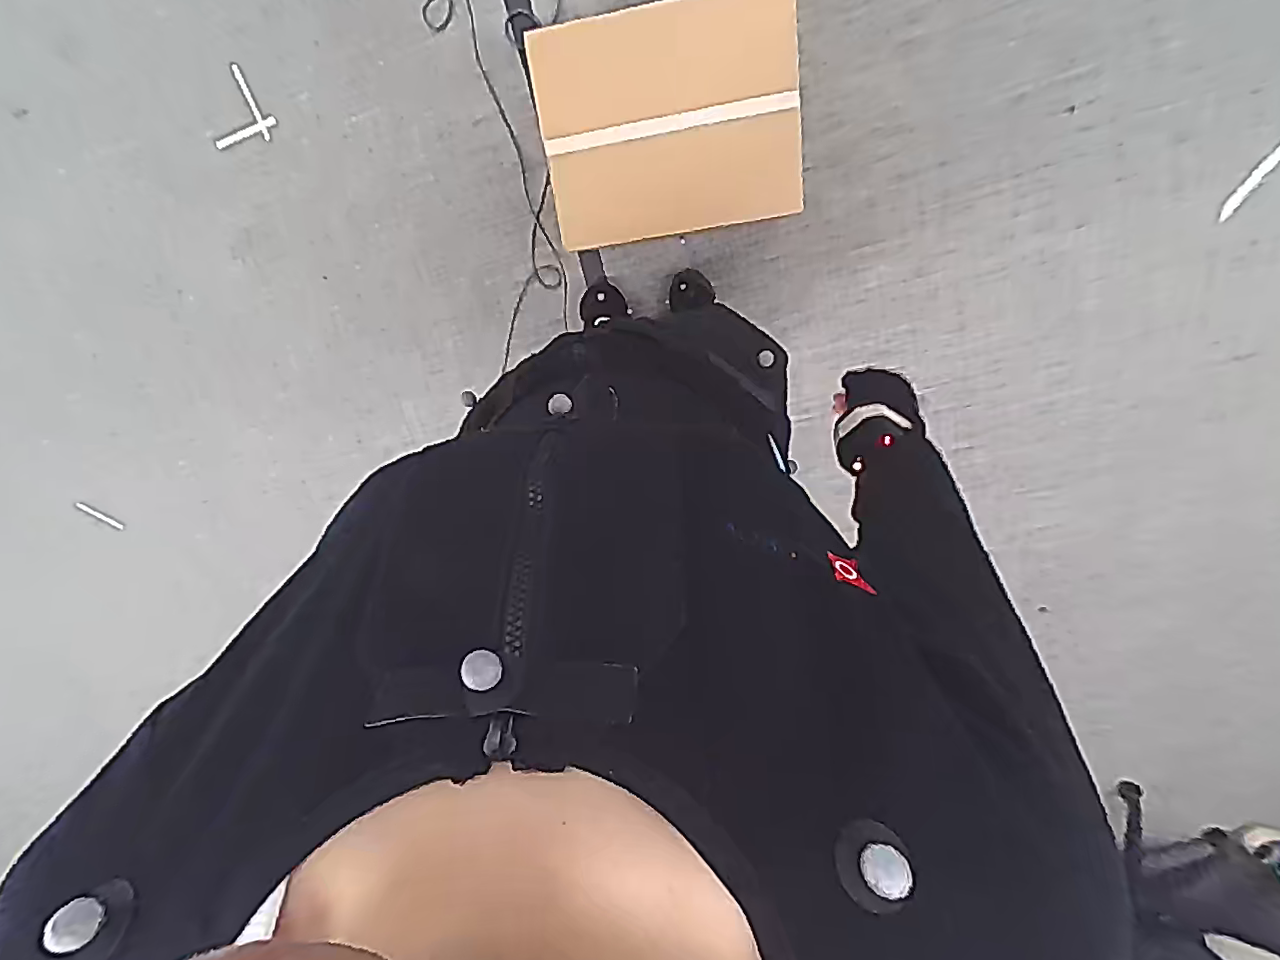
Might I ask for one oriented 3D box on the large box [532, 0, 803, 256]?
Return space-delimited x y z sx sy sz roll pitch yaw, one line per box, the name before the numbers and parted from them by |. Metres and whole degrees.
large box | 0.060 -0.610 0.994 0.408 0.320 0.320 -6 114 7
